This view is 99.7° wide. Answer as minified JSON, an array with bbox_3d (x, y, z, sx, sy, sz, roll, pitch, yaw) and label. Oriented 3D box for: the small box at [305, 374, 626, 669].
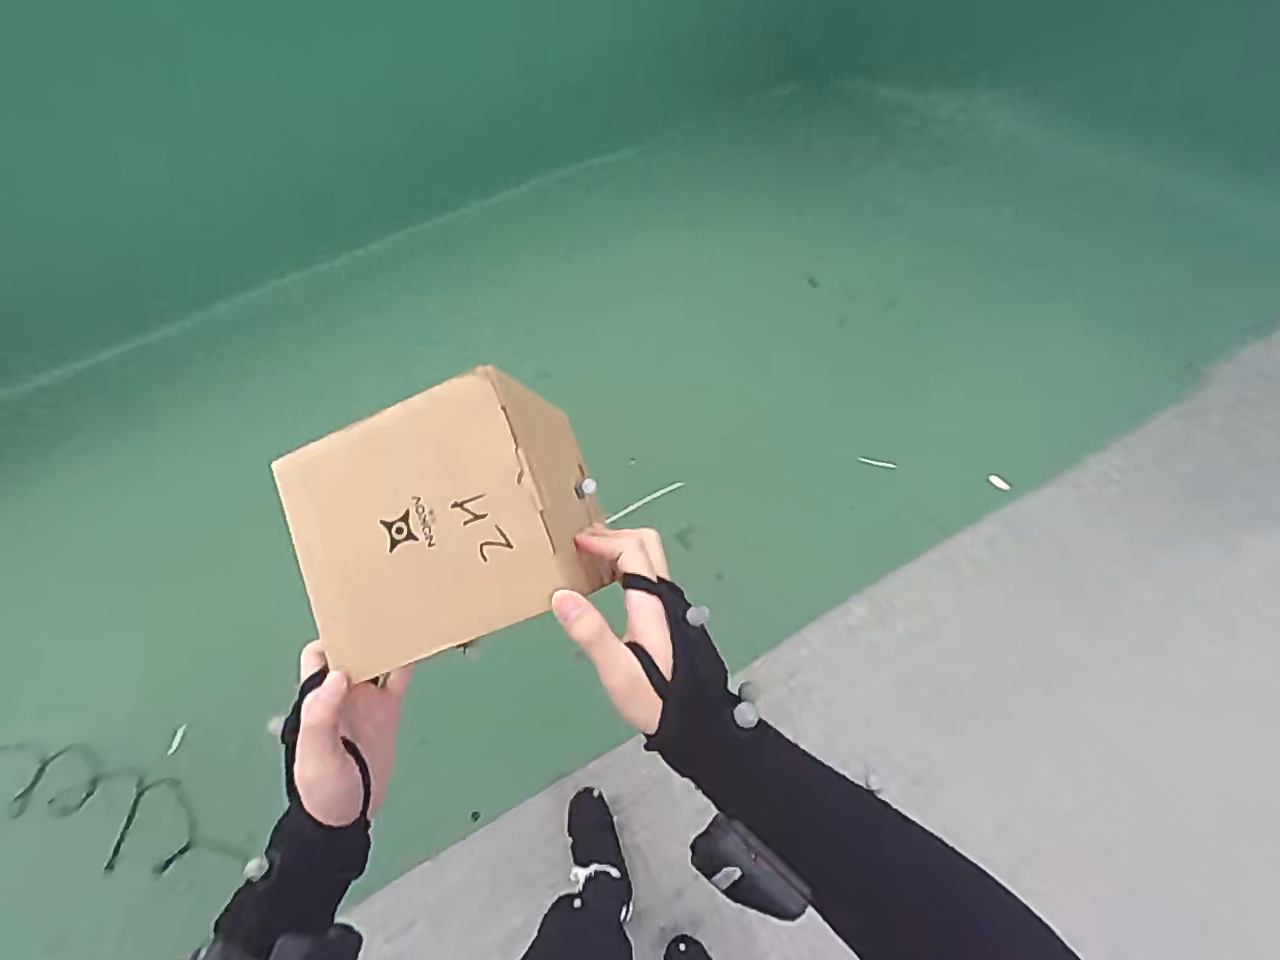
[{"bbox_3d":[-0.129,0.038,0.455,0.179,0.176,0.168,-21,81,7],"label":"small box"}]
